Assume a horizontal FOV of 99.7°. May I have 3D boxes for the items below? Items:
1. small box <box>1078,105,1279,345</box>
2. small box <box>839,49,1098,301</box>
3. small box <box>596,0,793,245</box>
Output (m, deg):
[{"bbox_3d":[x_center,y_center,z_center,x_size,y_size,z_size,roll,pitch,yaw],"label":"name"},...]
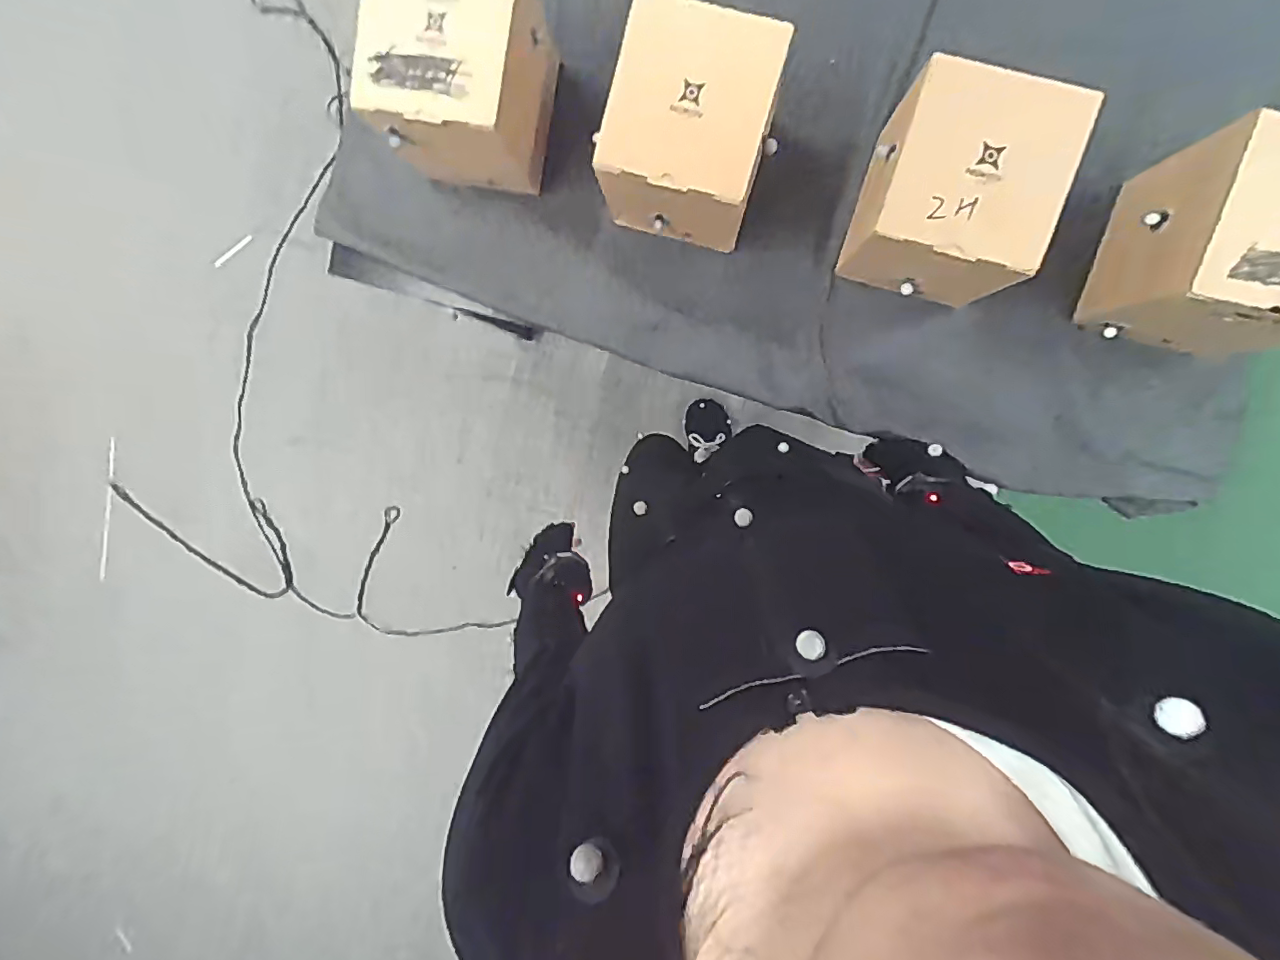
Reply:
[{"bbox_3d":[0.637,-0.258,0.593,0.168,0.176,0.179,15,98,3],"label":"small box"},{"bbox_3d":[0.346,-0.324,0.611,0.168,0.176,0.179,17,99,3],"label":"small box"},{"bbox_3d":[0.058,-0.402,0.629,0.168,0.176,0.179,16,99,2],"label":"small box"}]
